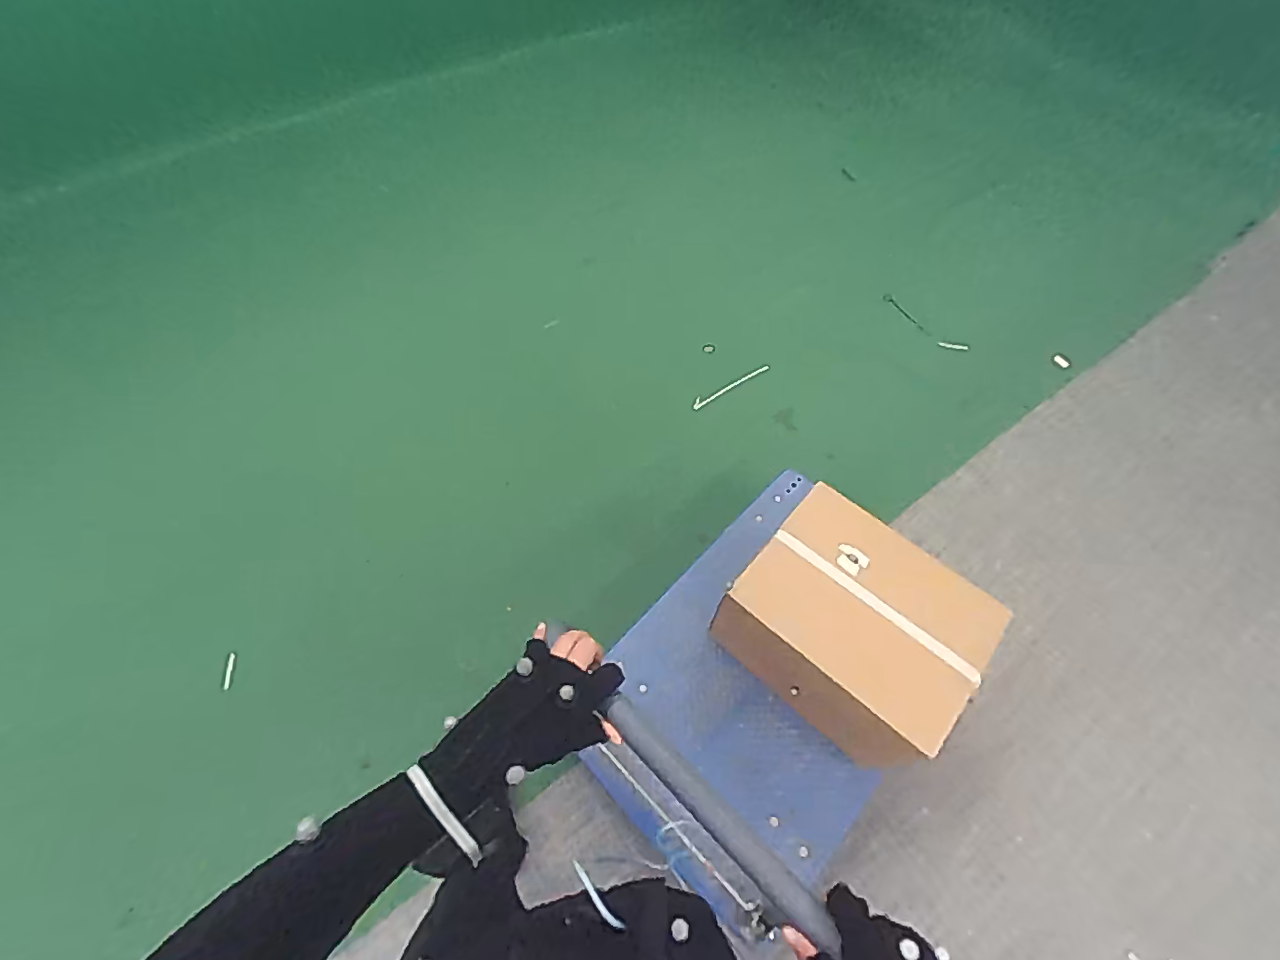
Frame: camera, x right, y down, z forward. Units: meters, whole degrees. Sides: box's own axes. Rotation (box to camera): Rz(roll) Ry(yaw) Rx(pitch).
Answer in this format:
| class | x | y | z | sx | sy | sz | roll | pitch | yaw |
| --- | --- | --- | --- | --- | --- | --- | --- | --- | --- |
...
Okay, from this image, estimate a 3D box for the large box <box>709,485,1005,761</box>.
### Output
| class | x | y | z | sx | sy | sz | roll | pitch | yaw |
| --- | --- | --- | --- | --- | --- | --- | --- | --- | --- |
| large box | 0.397 | 0.291 | 1.086 | 0.408 | 0.320 | 0.320 | 38 | 67 | 21 |
